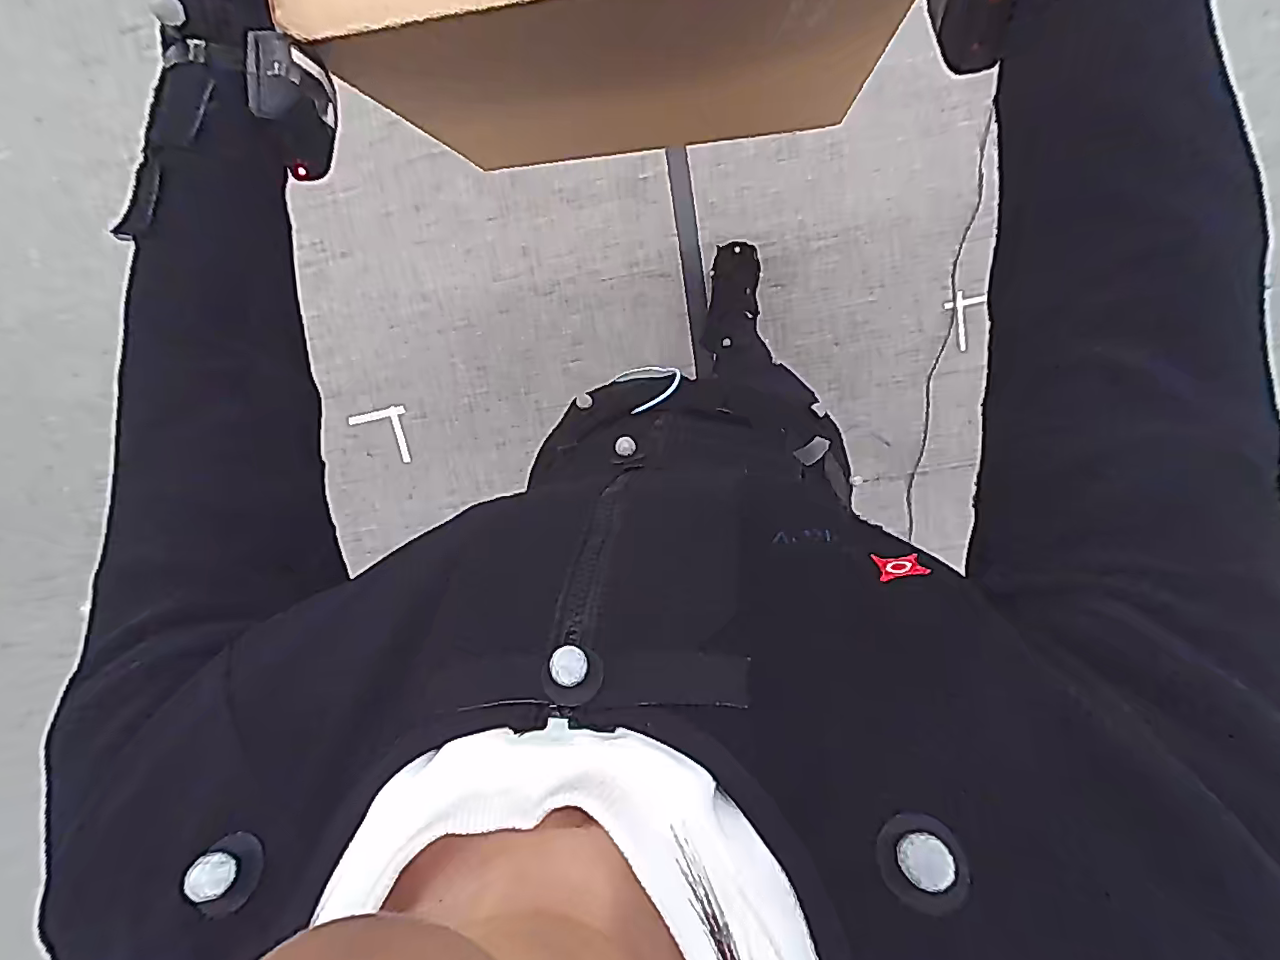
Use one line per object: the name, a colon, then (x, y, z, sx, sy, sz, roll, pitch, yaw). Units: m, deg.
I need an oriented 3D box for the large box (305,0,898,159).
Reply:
large box: (-0.016, -0.489, 0.422, 0.408, 0.320, 0.320, -3, 107, 8)
